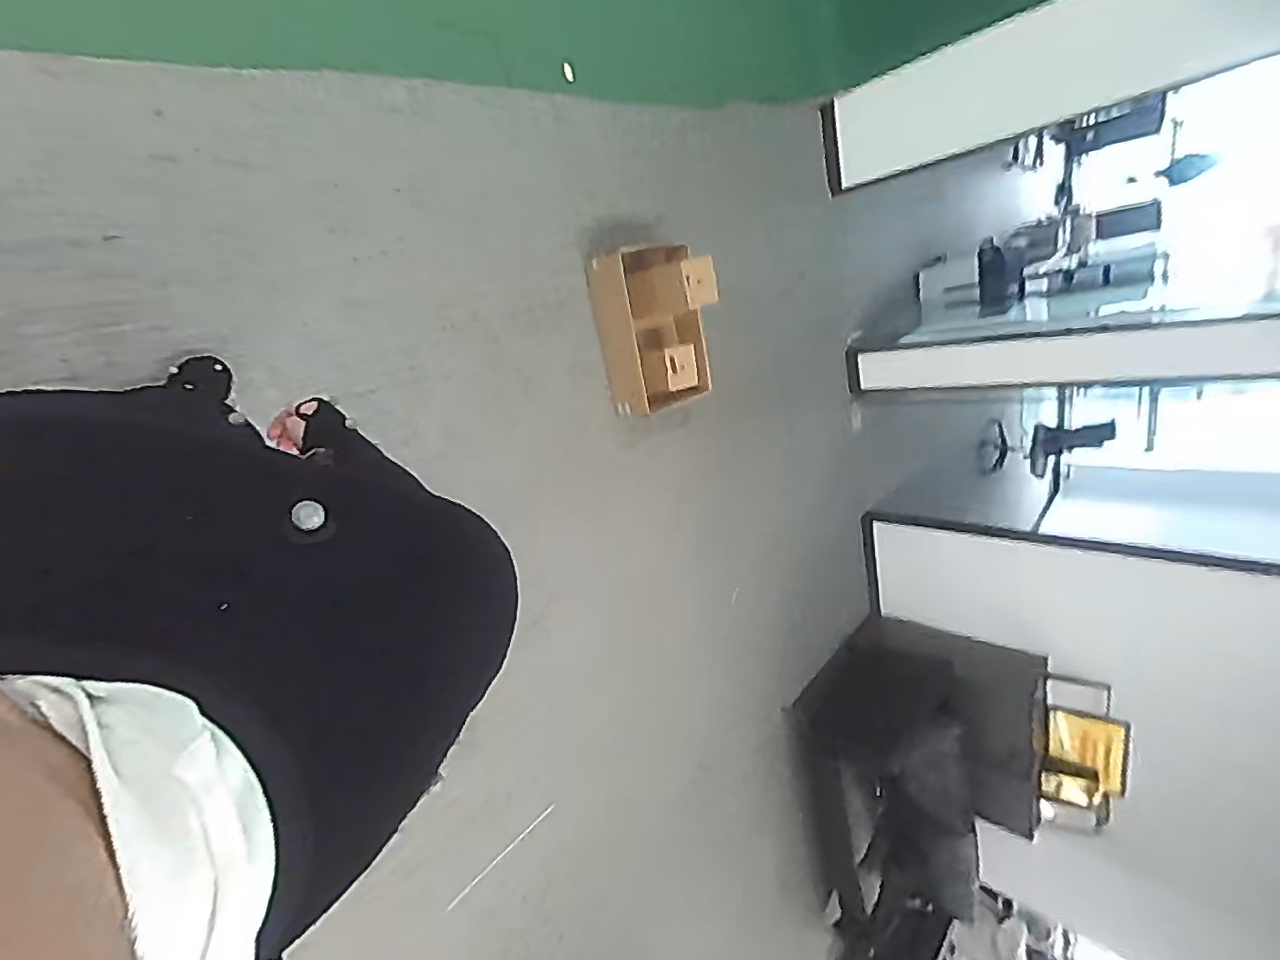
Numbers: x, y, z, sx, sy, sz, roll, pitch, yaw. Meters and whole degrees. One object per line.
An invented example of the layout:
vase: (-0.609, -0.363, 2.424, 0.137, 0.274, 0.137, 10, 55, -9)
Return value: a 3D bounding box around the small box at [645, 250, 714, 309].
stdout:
small box: (0.144, -0.733, 1.977, 0.179, 0.176, 0.168, -30, 116, -38)
